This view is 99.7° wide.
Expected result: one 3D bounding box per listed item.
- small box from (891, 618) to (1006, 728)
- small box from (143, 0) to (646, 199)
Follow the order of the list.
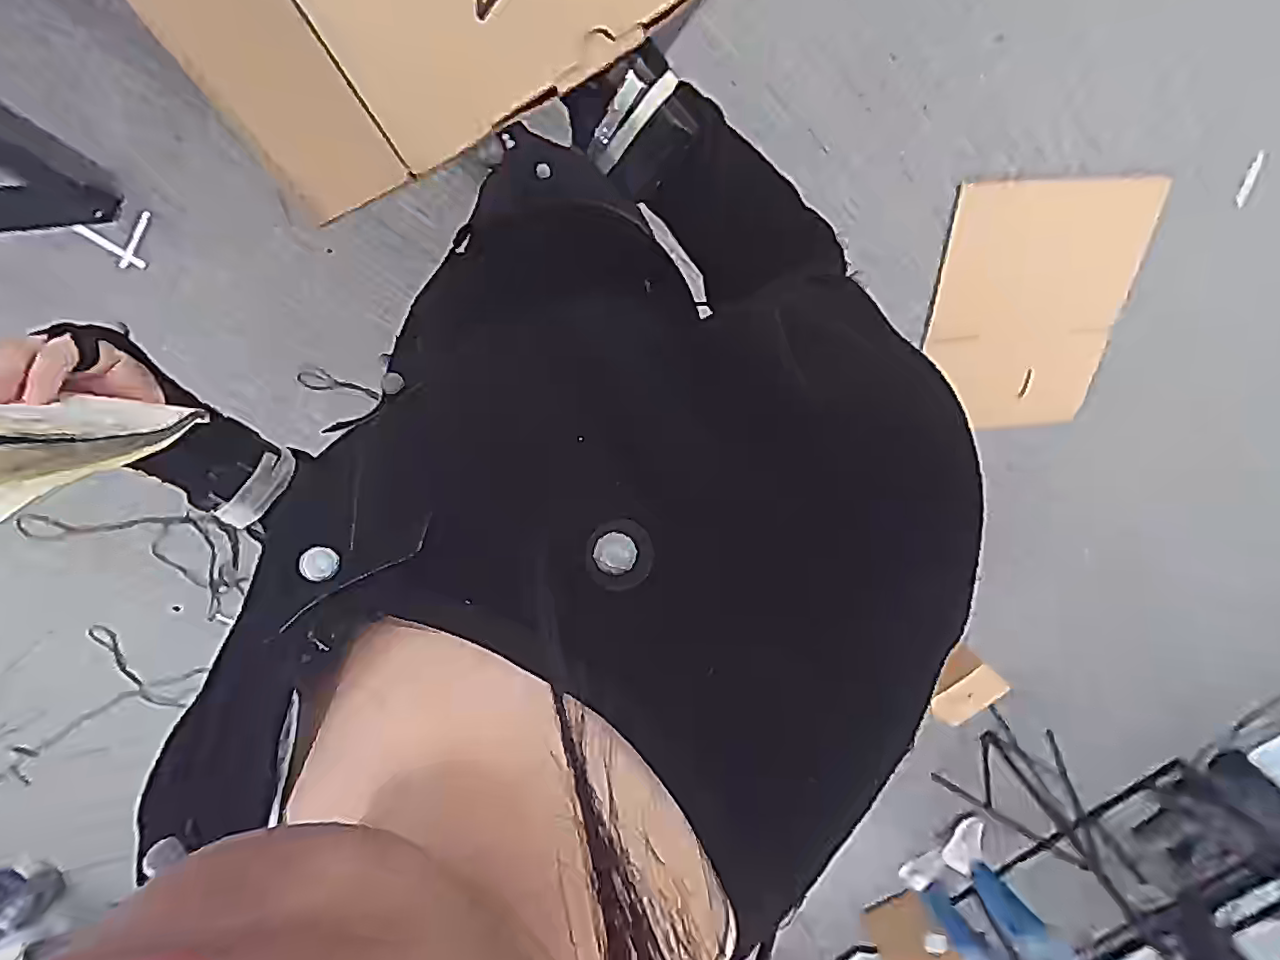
[{"bbox_3d":[0.785,0.497,1.400,0.168,0.176,0.179,38,106,-27],"label":"small box"},{"bbox_3d":[-0.101,-0.228,0.185,0.168,0.176,0.179,-46,128,-17],"label":"small box"}]
